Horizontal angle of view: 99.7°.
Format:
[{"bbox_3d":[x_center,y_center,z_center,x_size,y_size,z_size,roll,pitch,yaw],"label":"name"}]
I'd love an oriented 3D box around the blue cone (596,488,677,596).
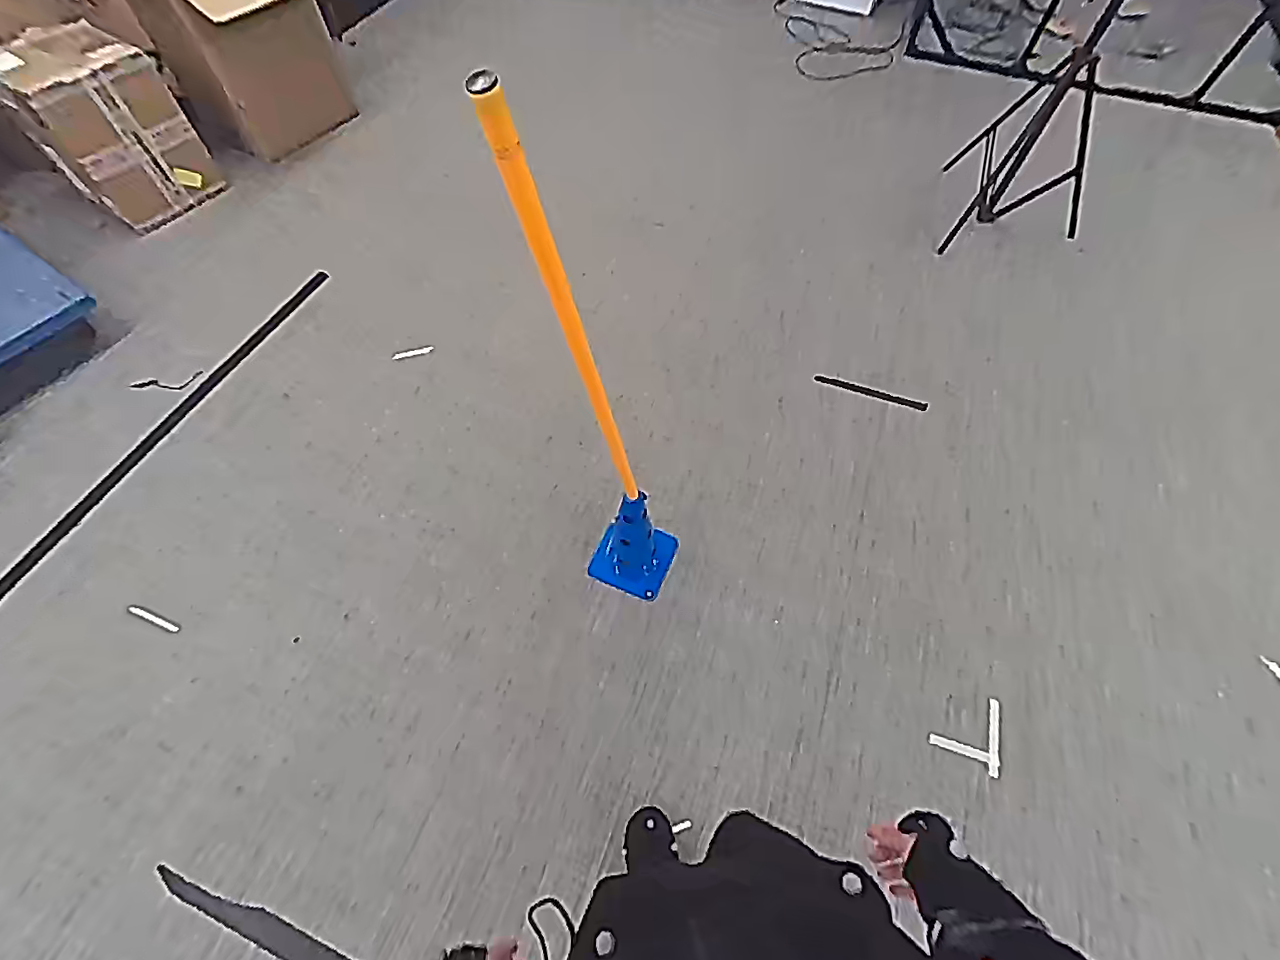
[{"bbox_3d":[-0.007,0.121,1.322,0.192,0.380,0.193,23,63,11],"label":"blue cone"}]
